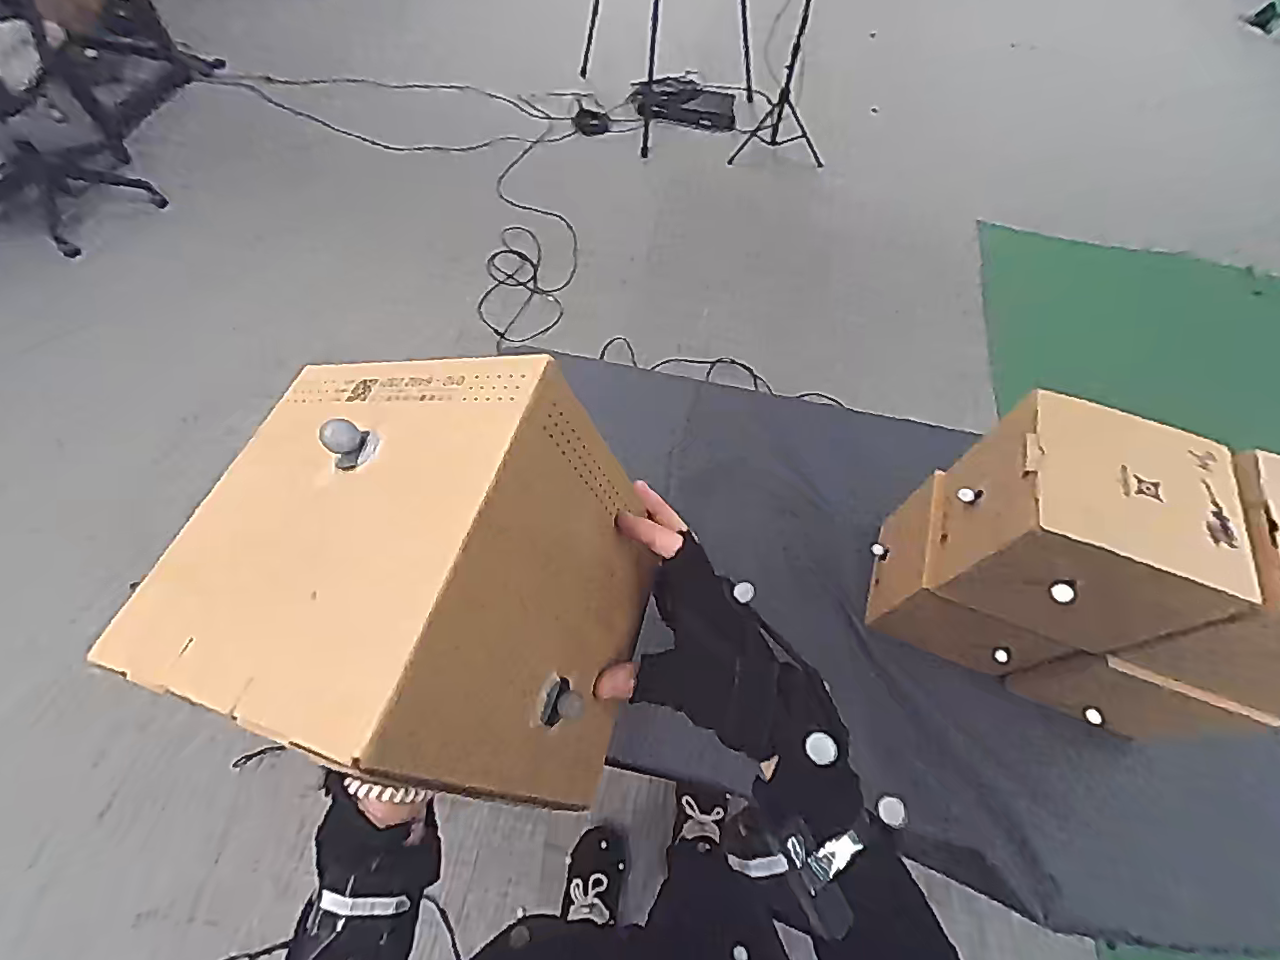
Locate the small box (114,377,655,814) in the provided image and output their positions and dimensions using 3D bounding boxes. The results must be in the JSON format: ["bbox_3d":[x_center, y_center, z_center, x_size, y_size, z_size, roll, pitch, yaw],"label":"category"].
[{"bbox_3d":[-0.106,0.063,0.304,0.168,0.179,0.176,3,58,25],"label":"small box"}]
